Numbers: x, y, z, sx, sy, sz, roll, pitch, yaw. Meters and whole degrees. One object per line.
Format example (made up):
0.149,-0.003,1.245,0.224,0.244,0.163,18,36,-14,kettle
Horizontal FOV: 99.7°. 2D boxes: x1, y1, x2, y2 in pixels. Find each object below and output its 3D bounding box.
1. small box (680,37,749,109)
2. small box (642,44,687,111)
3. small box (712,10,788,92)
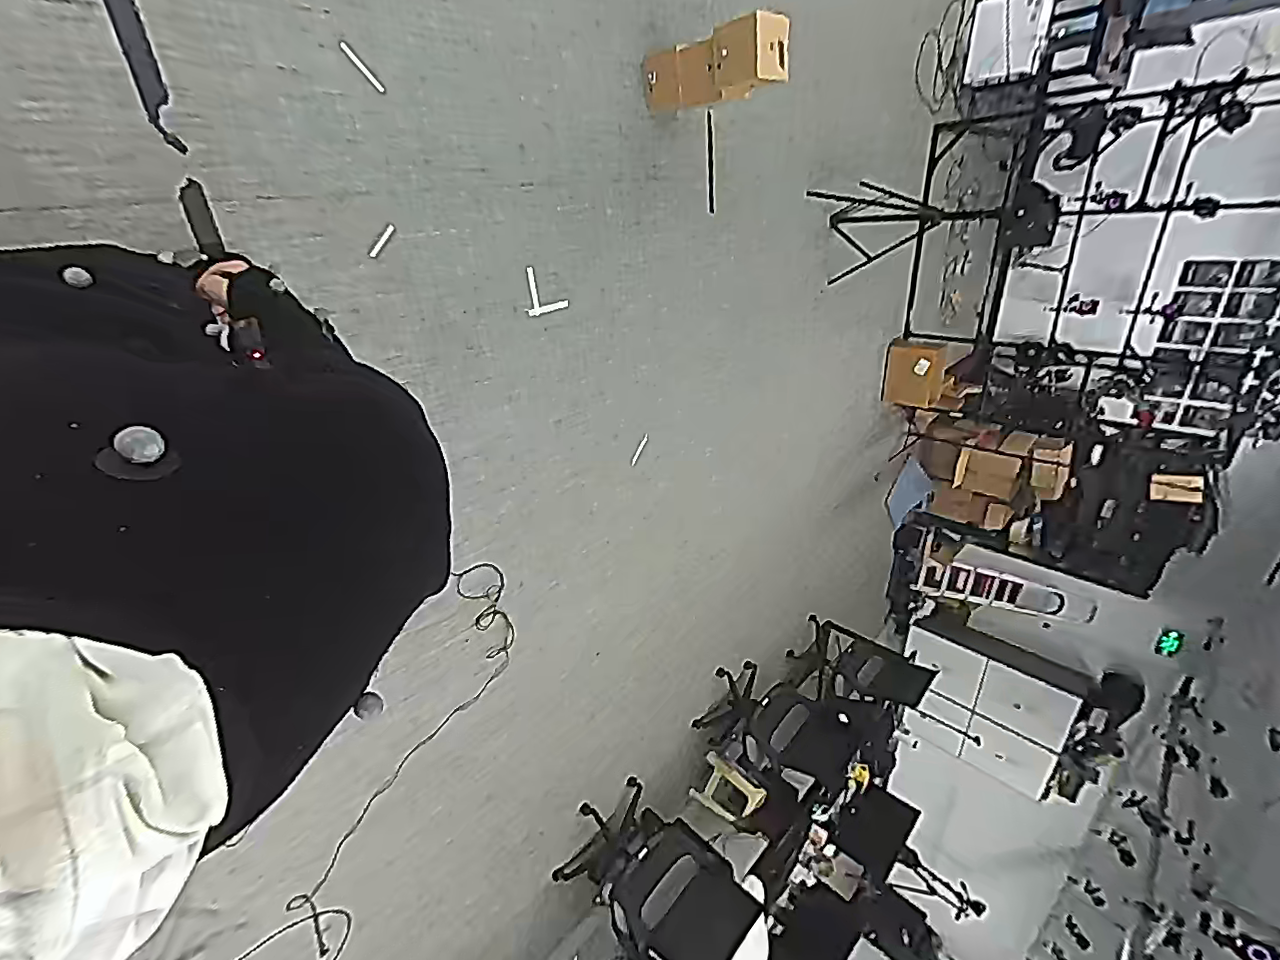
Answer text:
0.251,-1.388,1.842,0.168,0.176,0.179,-32,127,-35,small box
0.131,-1.441,1.942,0.179,0.176,0.168,-31,126,-35,small box
0.348,-1.349,1.712,0.179,0.176,0.168,-28,123,-36,small box
